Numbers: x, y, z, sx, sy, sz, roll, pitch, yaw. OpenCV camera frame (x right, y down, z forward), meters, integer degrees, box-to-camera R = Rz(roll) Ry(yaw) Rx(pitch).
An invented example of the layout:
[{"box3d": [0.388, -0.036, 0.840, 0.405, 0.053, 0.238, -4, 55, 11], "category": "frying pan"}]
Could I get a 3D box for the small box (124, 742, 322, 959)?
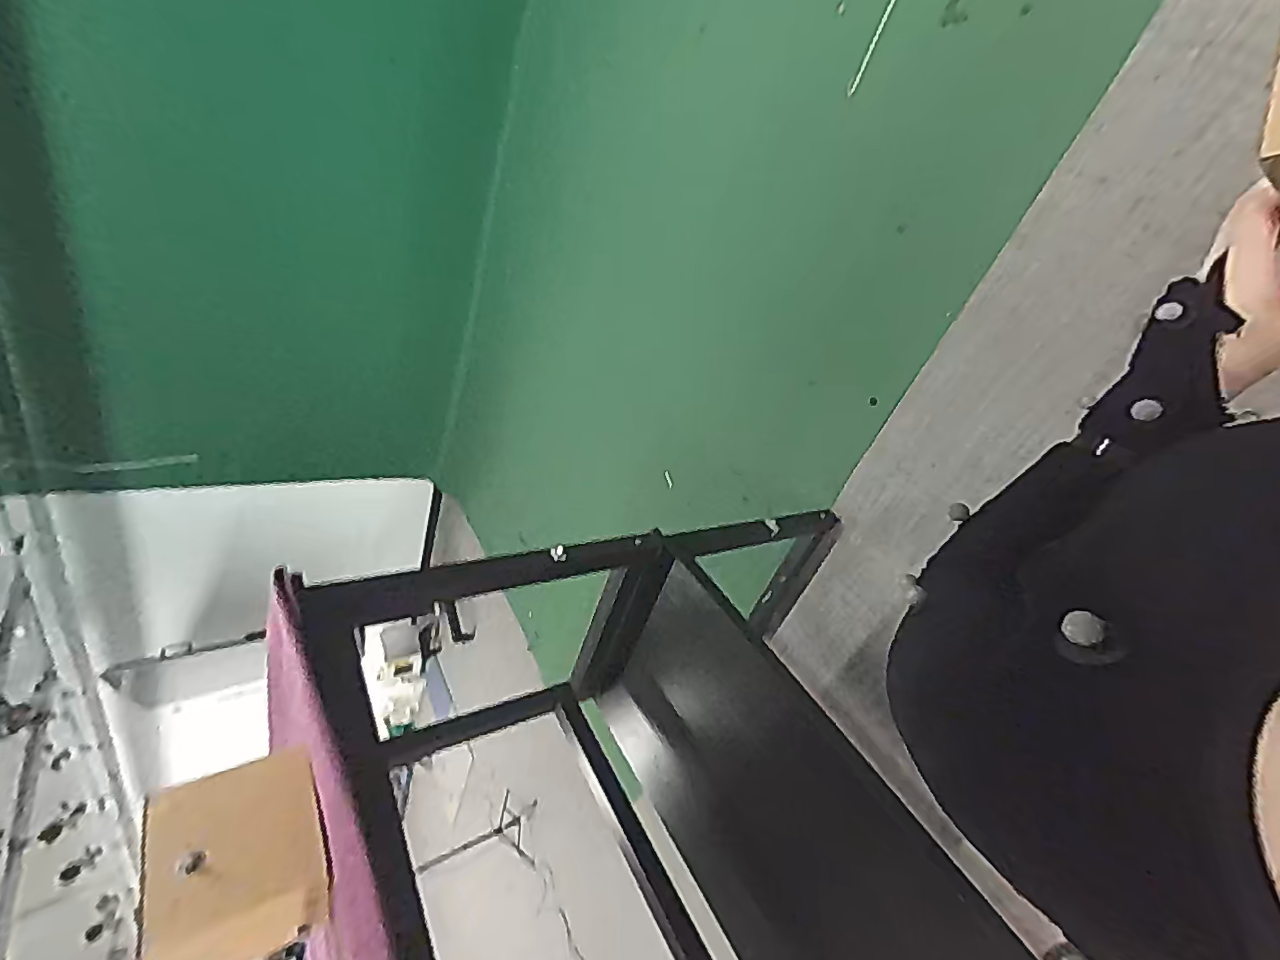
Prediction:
[{"box3d": [-0.496, 0.463, 0.660, 0.179, 0.176, 0.168, 49, 131, 37], "category": "small box"}]
